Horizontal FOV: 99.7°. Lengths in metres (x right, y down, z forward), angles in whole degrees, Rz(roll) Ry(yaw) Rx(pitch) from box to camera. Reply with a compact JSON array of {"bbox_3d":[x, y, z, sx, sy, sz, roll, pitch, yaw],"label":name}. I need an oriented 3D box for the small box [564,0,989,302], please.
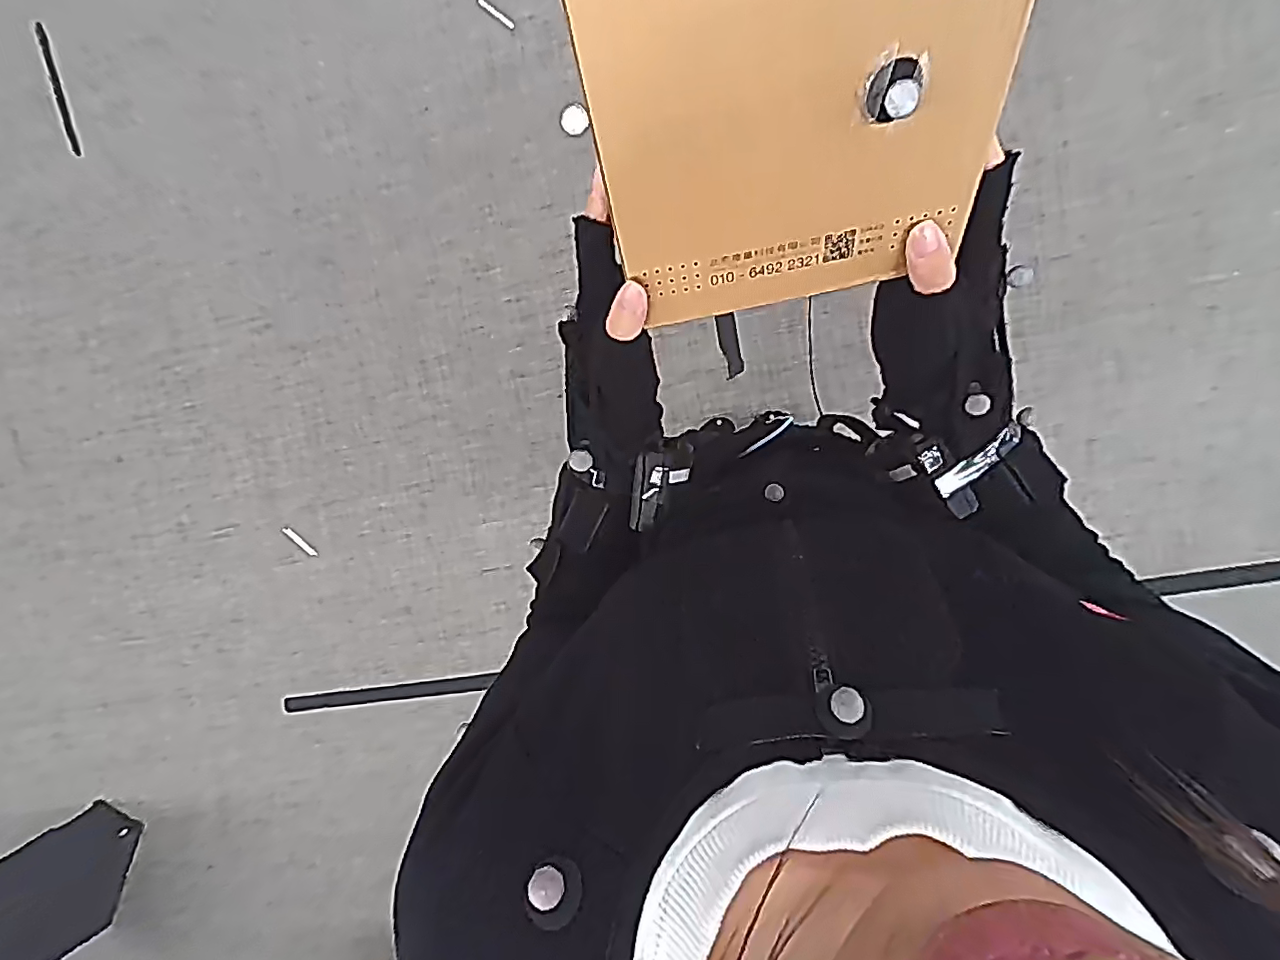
[{"bbox_3d":[0.060,-0.214,0.288,0.168,0.176,0.179,-9,52,6],"label":"small box"}]
